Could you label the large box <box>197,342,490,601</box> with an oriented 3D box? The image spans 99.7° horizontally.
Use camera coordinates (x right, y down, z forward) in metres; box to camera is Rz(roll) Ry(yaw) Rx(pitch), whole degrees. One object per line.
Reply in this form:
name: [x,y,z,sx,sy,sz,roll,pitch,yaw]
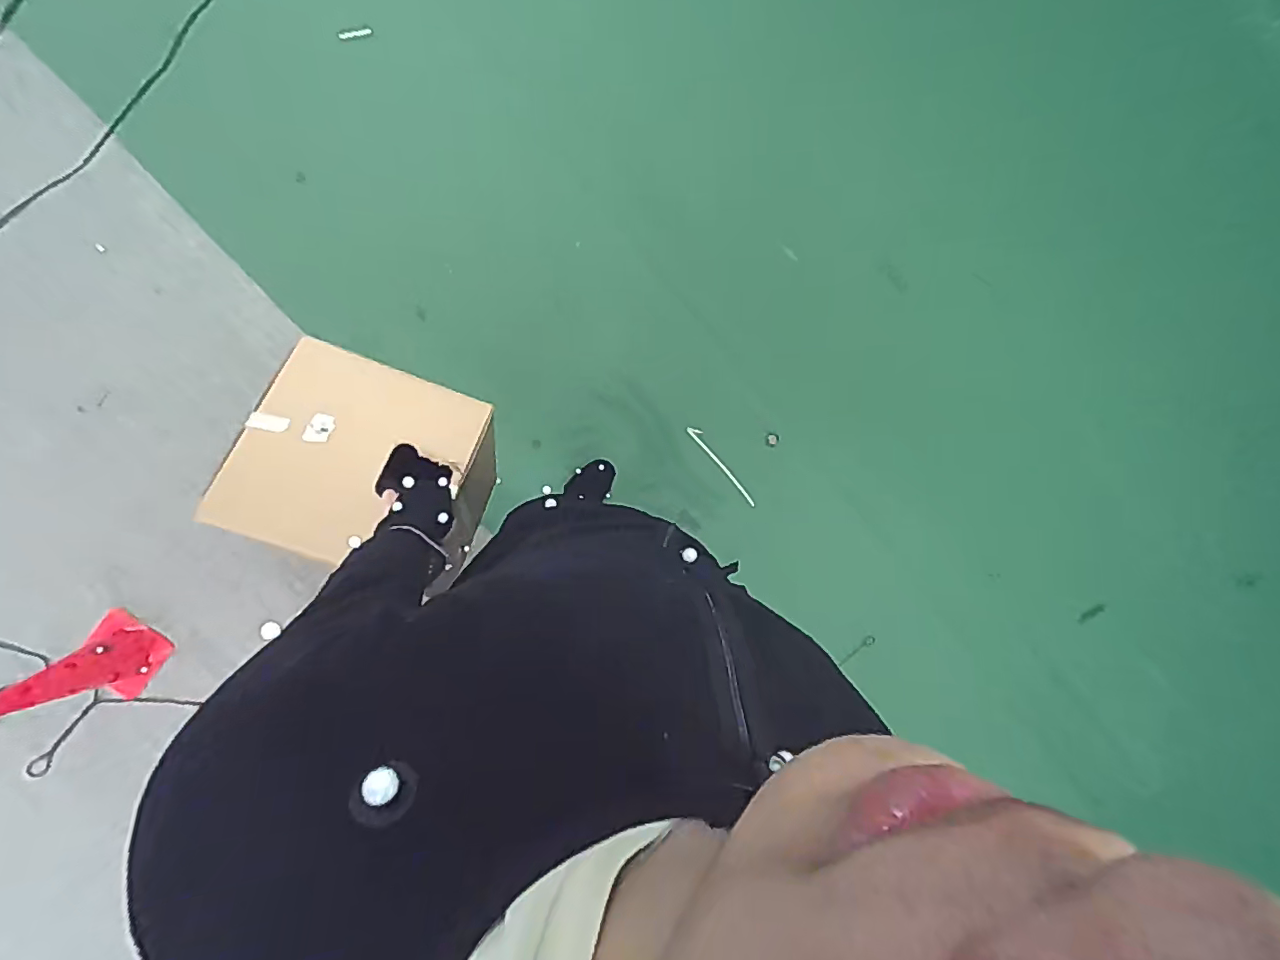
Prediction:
large box: [-0.476,0.017,0.982,0.320,0.408,0.320,20,70,-8]
